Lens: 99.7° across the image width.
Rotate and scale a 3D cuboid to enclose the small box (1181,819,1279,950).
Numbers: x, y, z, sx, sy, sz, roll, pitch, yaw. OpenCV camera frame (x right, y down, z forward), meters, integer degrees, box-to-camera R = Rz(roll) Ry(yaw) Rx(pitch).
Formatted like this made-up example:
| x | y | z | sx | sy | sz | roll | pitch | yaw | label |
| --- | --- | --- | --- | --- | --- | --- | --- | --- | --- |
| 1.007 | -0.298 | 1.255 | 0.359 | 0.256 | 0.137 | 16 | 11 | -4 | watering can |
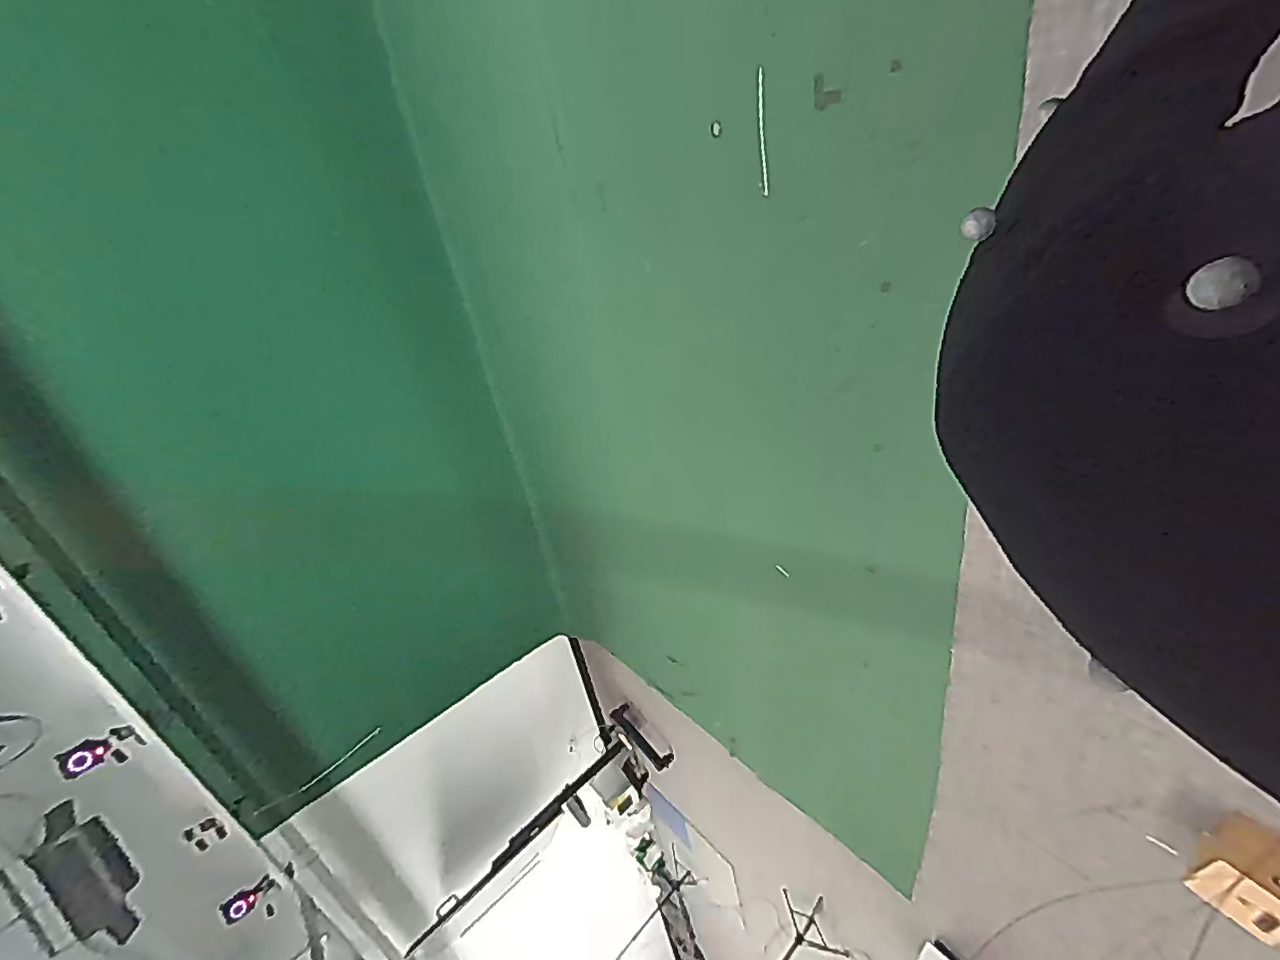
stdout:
| x | y | z | sx | sy | sz | roll | pitch | yaw | label |
| --- | --- | --- | --- | --- | --- | --- | --- | --- | --- |
| 1.518 | 0.994 | 1.339 | 0.179 | 0.176 | 0.168 | 36 | 140 | 37 | small box |
